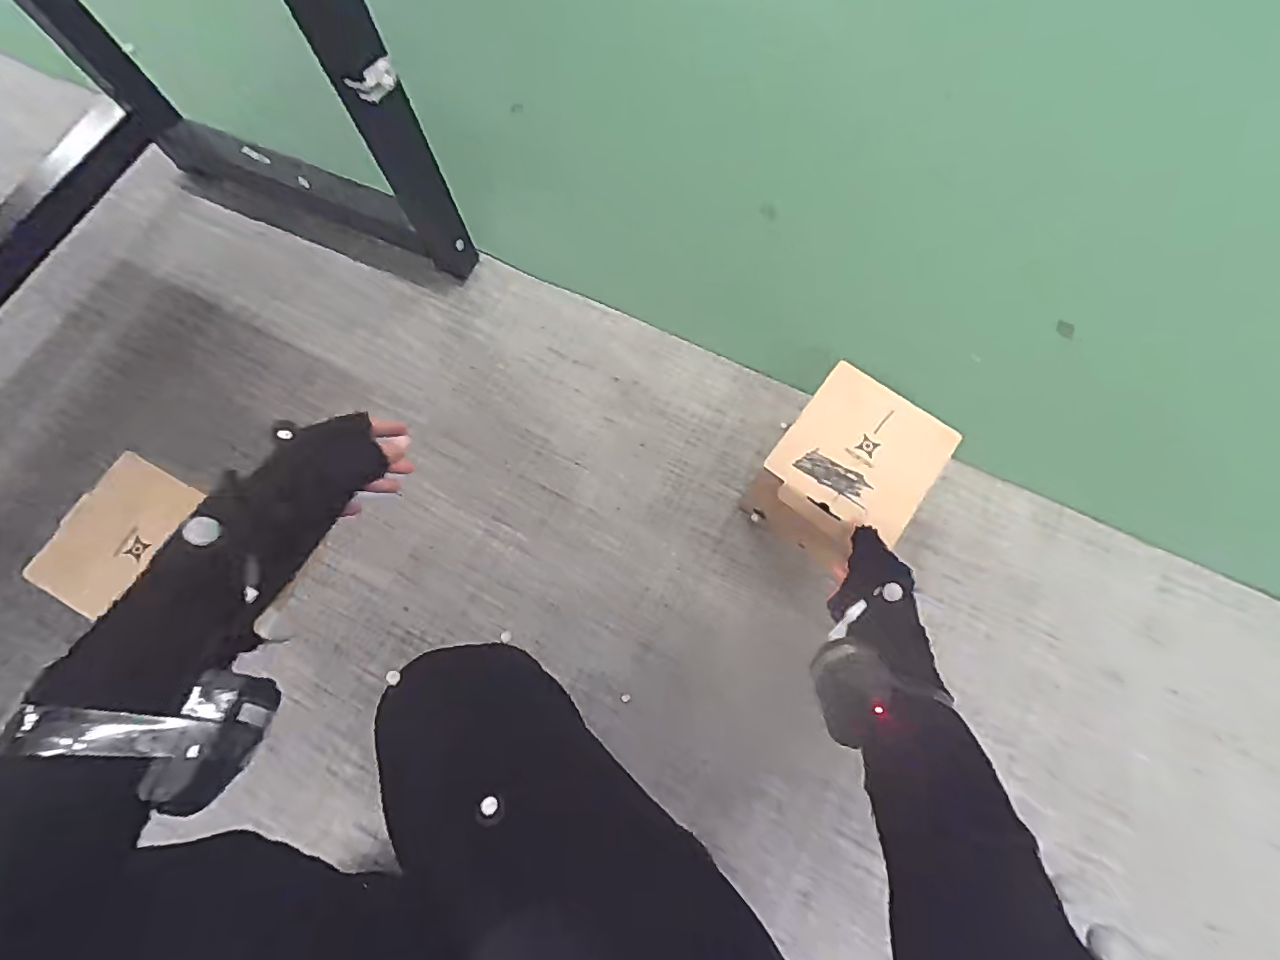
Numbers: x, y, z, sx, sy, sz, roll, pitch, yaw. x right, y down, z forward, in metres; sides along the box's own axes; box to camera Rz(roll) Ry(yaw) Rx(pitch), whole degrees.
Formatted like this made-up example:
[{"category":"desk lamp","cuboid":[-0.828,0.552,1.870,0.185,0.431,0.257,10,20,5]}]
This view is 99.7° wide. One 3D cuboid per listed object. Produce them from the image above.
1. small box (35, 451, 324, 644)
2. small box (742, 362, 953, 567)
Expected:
[{"category":"small box","cuboid":[-0.555,0.093,0.678,0.179,0.176,0.168,26,77,9]},{"category":"small box","cuboid":[0.248,-0.008,0.694,0.168,0.176,0.179,36,76,11]}]
